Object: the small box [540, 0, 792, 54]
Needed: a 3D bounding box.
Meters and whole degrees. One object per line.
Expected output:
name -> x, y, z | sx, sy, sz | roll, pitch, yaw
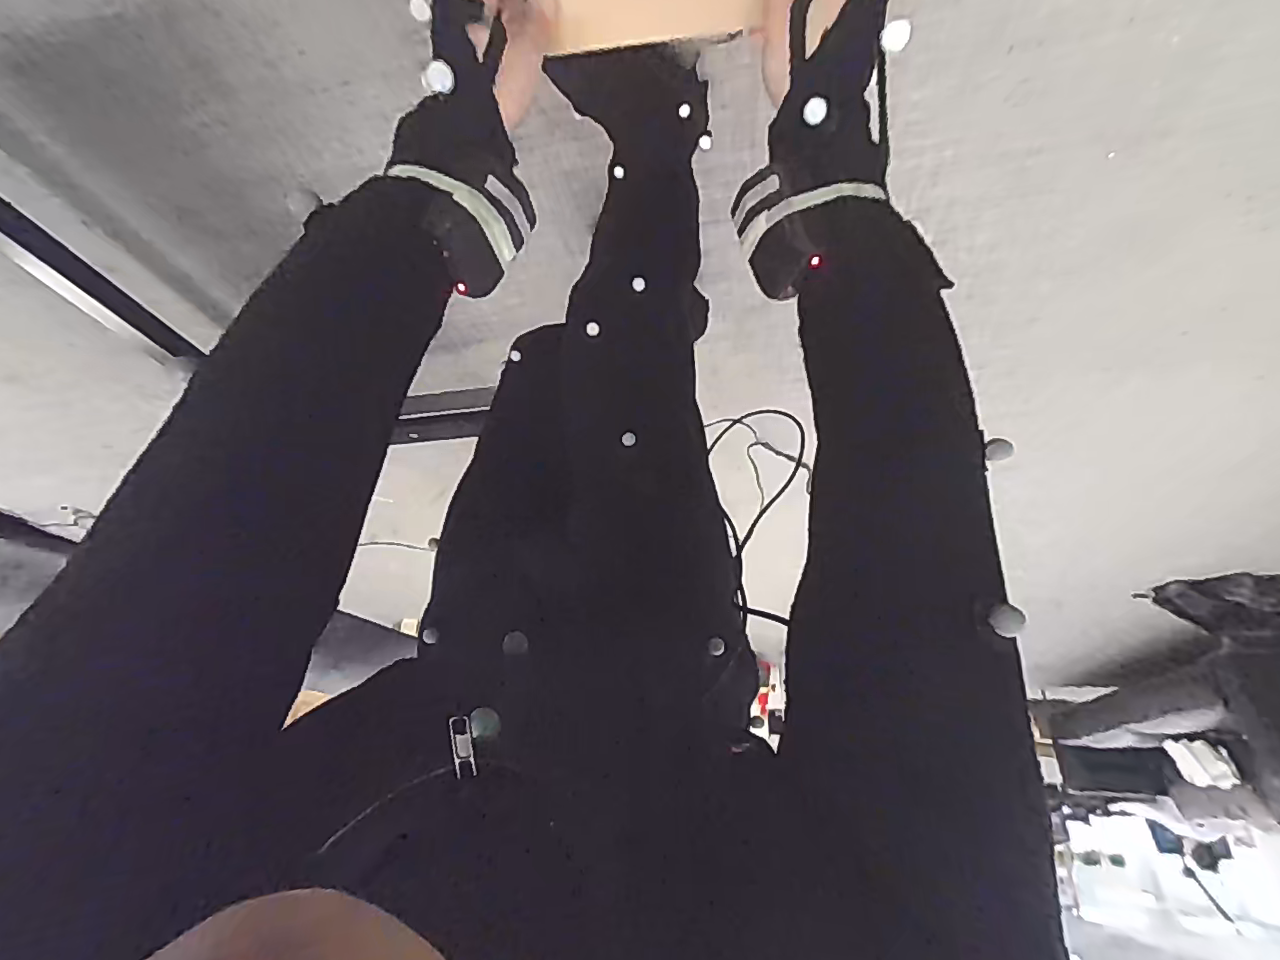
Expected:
small box -> 0.015, -0.415, 0.350 | 0.168, 0.176, 0.179 | 0, 142, 10
